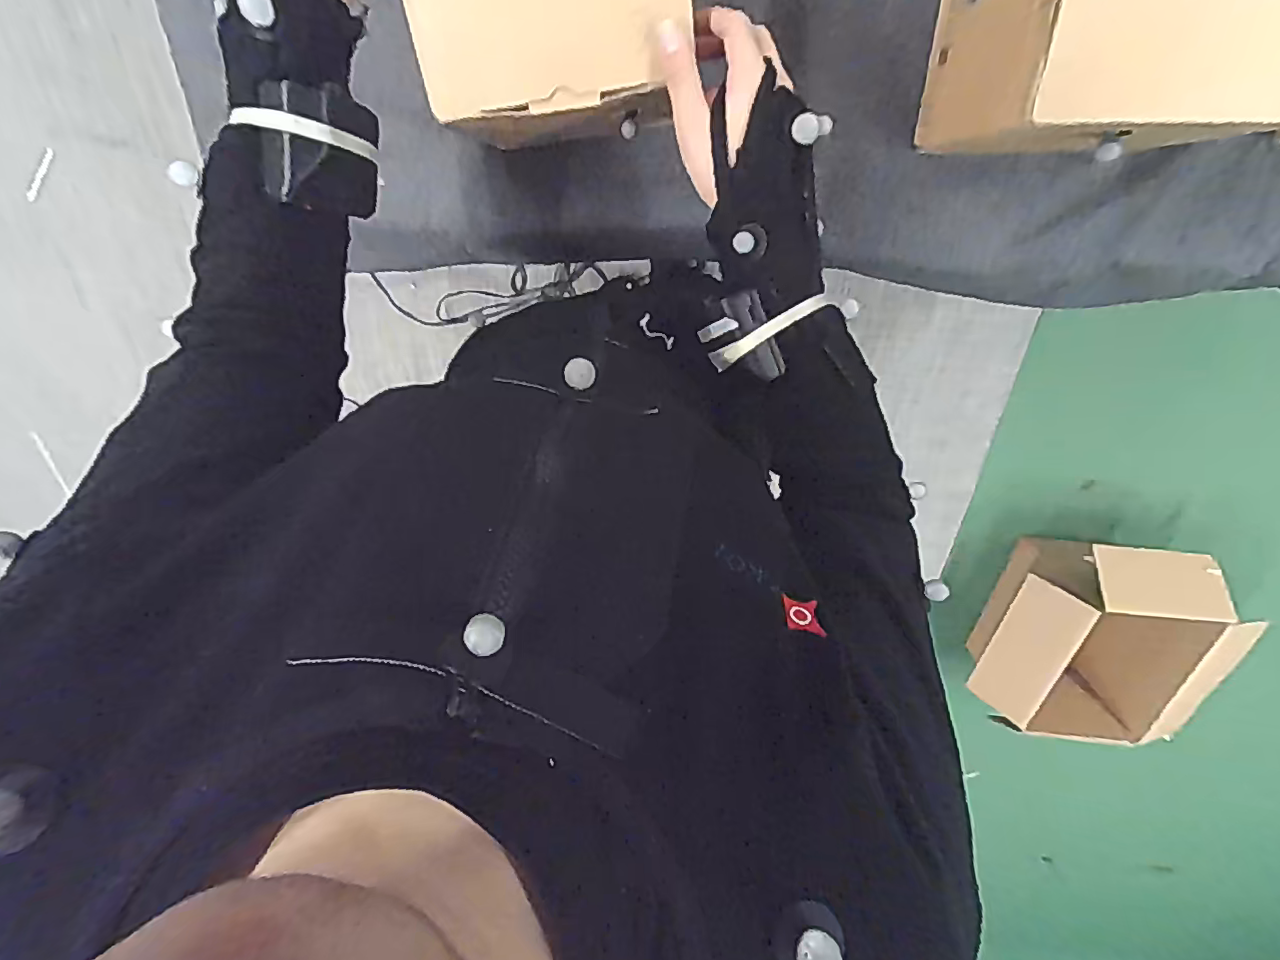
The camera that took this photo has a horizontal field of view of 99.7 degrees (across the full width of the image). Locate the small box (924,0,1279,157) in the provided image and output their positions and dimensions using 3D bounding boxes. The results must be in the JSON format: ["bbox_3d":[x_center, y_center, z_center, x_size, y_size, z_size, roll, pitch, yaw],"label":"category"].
[{"bbox_3d":[0.324,-0.316,0.355,0.179,0.176,0.168,1,117,3],"label":"small box"}]

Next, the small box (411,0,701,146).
[{"bbox_3d":[-0.050,-0.338,0.363,0.168,0.176,0.179,-7,115,4],"label":"small box"}]
